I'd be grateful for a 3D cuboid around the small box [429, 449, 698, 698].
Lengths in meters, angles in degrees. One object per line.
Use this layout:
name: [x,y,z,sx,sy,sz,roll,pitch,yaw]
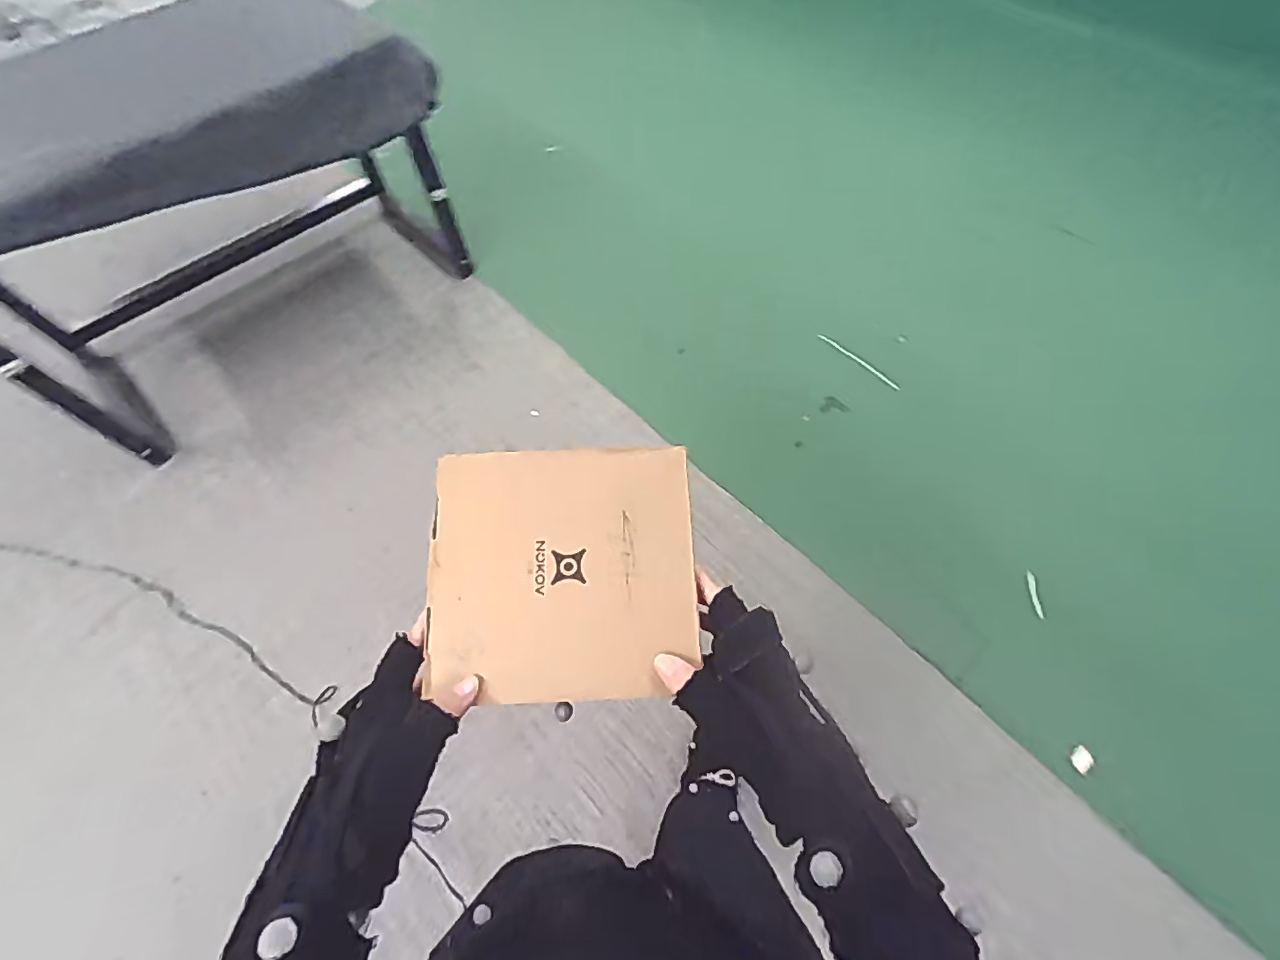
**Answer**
small box: [-0.056,0.084,0.447,0.179,0.176,0.168,-3,72,-4]
